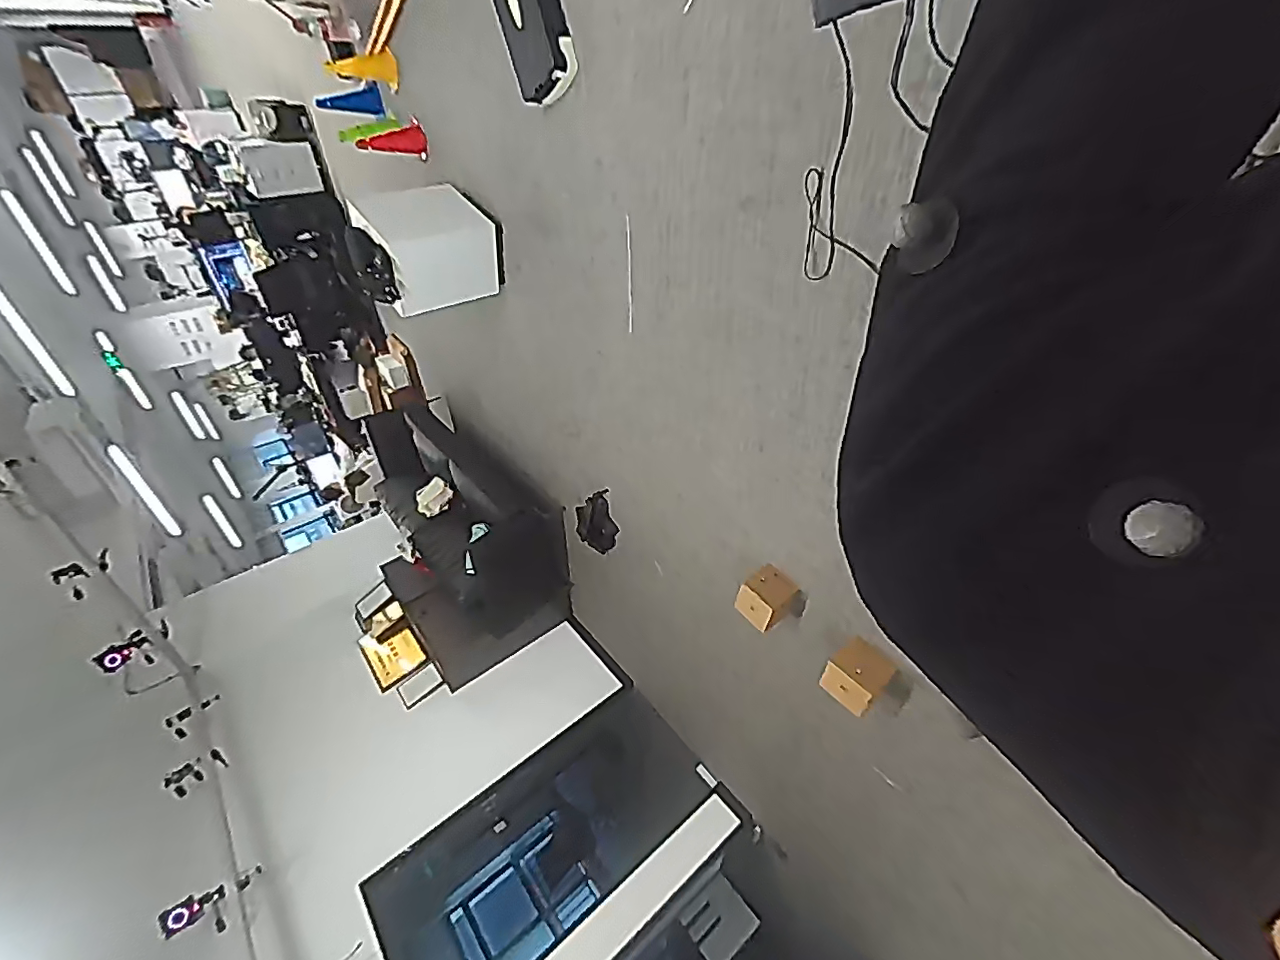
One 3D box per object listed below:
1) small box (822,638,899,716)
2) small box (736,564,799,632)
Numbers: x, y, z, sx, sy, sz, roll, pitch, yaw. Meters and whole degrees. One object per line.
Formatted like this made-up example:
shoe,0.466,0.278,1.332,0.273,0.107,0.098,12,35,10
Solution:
small box,0.795,0.701,1.955,0.179,0.176,0.168,37,141,36
small box,0.520,0.474,2.197,0.168,0.176,0.179,42,145,34
